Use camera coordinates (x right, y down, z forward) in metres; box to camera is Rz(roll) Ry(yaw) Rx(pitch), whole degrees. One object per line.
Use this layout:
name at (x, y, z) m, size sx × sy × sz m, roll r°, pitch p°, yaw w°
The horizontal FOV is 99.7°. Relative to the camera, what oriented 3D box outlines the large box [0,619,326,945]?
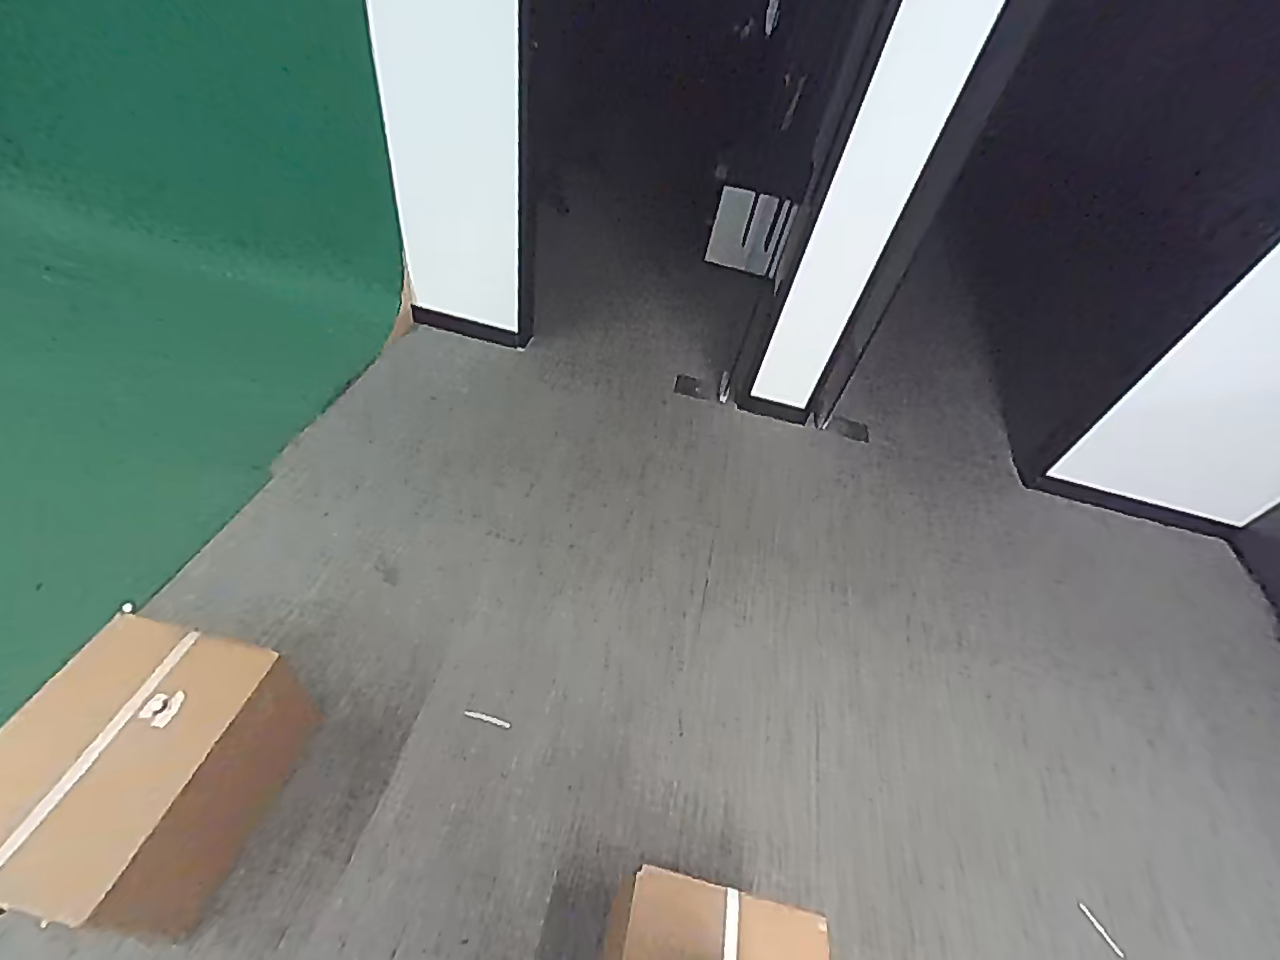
large box at (-0.858, 0.530, 0.967) m, size 0.320 × 0.320 × 0.408 m, roll 14°, pitch 45°, yaw 2°
